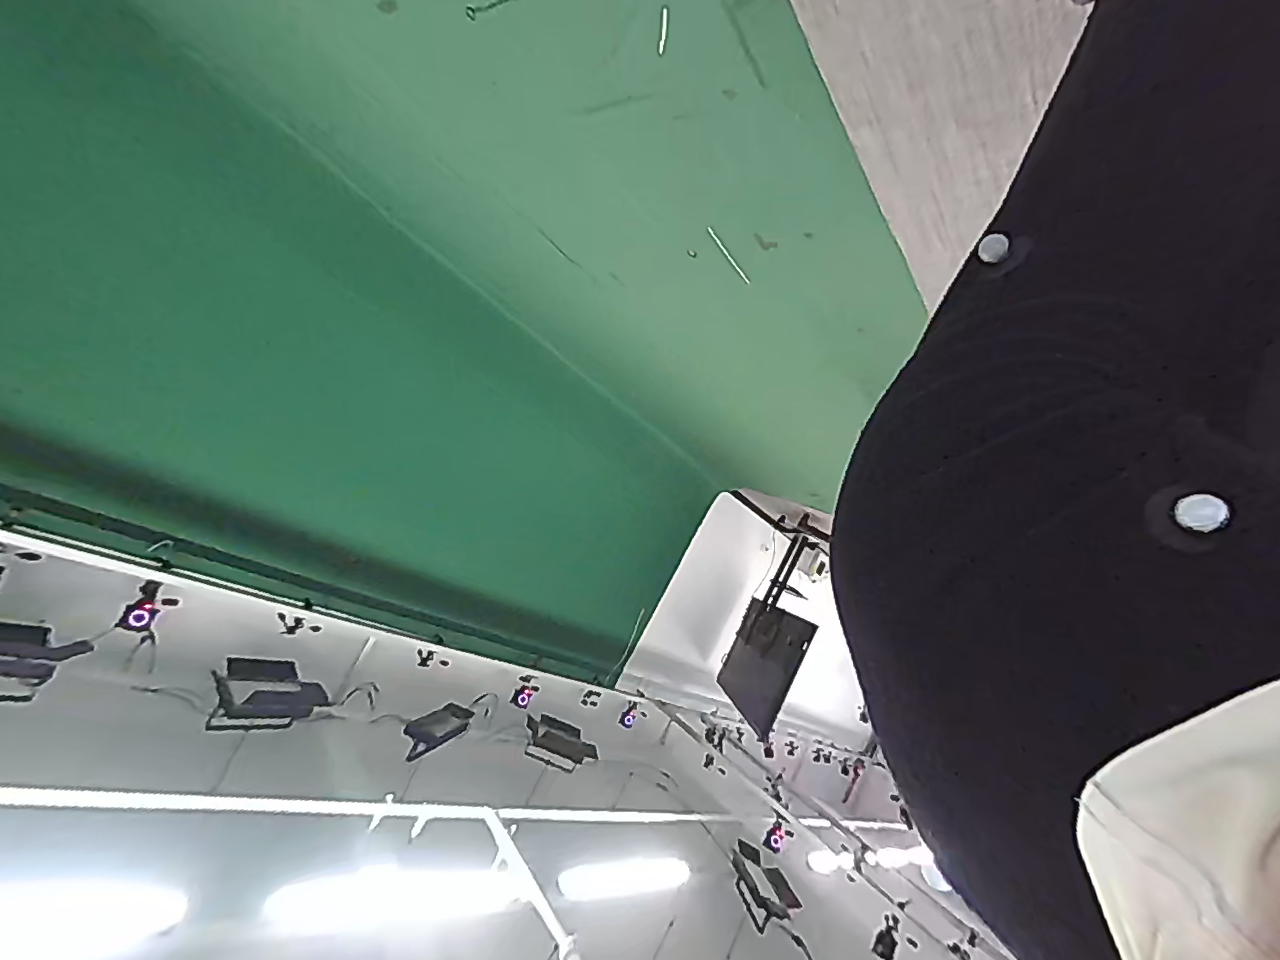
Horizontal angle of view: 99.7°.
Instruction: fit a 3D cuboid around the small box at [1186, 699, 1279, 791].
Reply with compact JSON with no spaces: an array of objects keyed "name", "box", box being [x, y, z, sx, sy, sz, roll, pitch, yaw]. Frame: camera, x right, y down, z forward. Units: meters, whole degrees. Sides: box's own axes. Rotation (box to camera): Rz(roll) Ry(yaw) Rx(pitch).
[{"name":"small box","box":[1.665,0.721,1.486,0.179,0.176,0.168,23,172,41]}]
